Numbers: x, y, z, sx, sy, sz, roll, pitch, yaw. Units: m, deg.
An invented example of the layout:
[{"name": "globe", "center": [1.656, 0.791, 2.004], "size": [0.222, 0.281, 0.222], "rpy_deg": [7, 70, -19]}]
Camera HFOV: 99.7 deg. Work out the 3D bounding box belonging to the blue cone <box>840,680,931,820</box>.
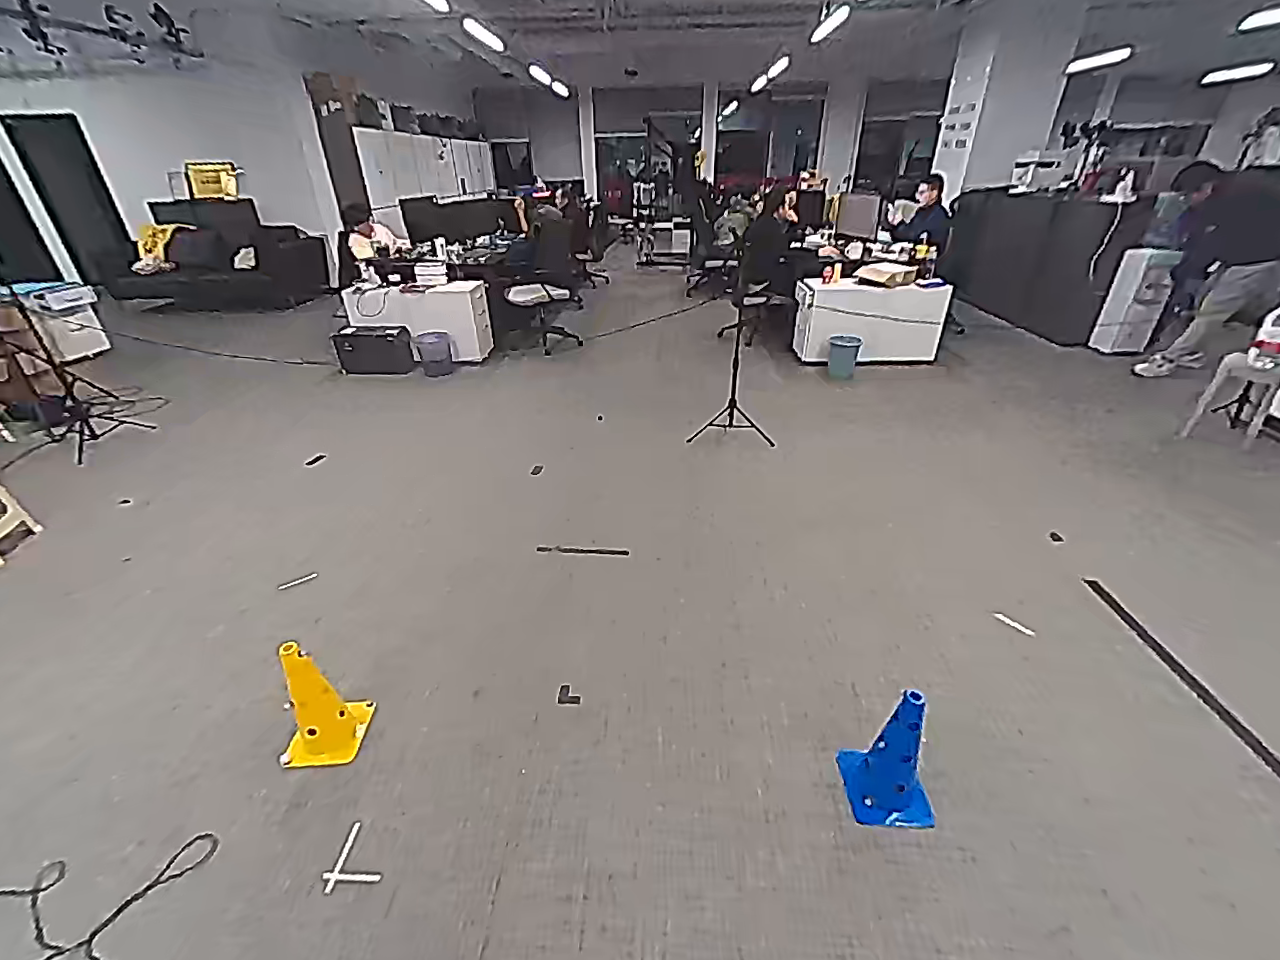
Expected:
[{"name": "blue cone", "center": [0.634, 0.642, 1.326], "size": [0.193, 0.380, 0.192], "rpy_deg": [1, 29, 4]}]
